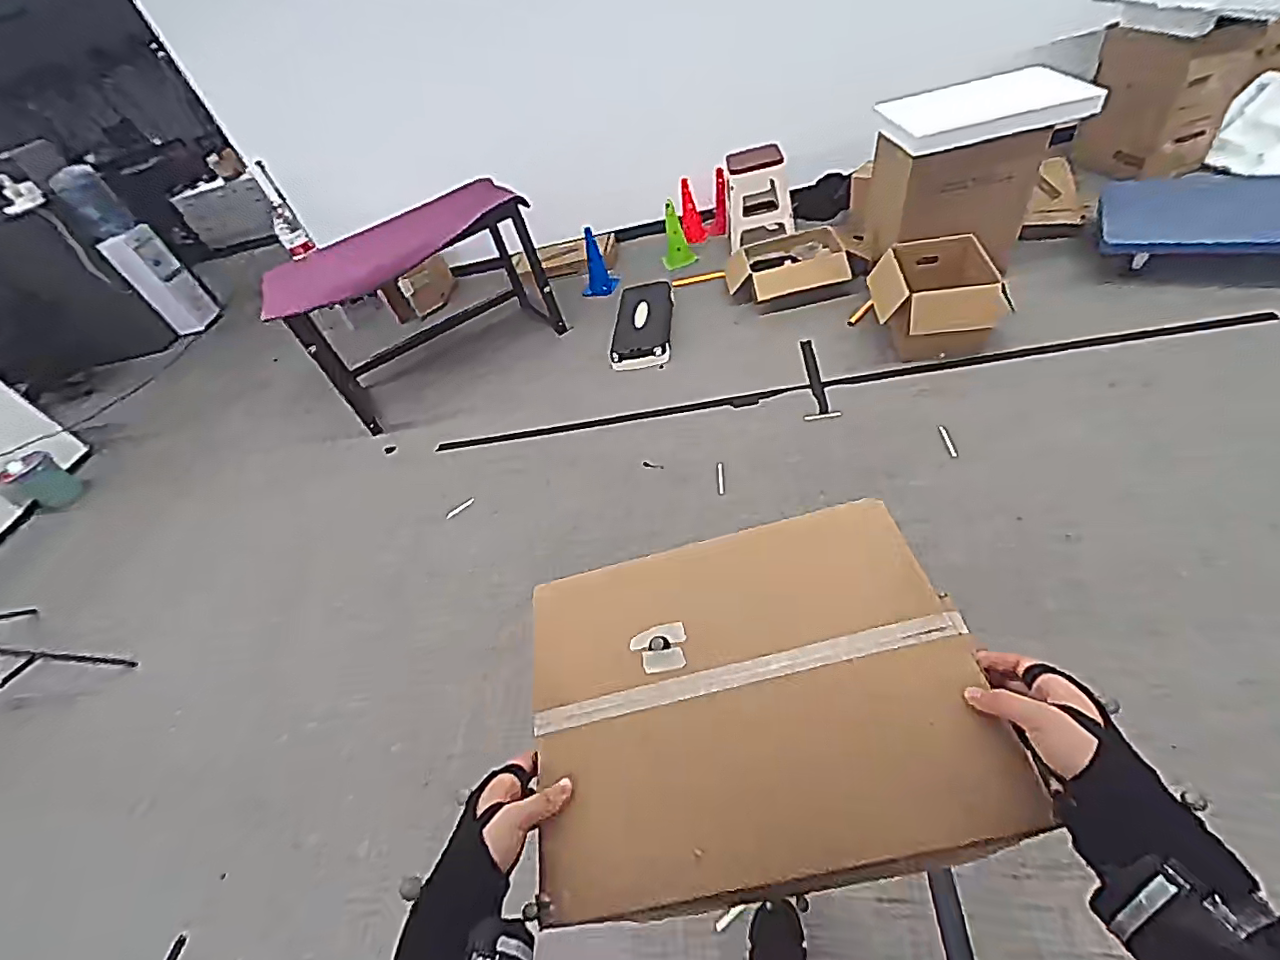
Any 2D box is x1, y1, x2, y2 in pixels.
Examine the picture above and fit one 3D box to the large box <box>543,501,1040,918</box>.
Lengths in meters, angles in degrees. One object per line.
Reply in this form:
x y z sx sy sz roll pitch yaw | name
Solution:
0.136 0.281 0.635 0.408 0.320 0.320 -17 48 7 | large box
